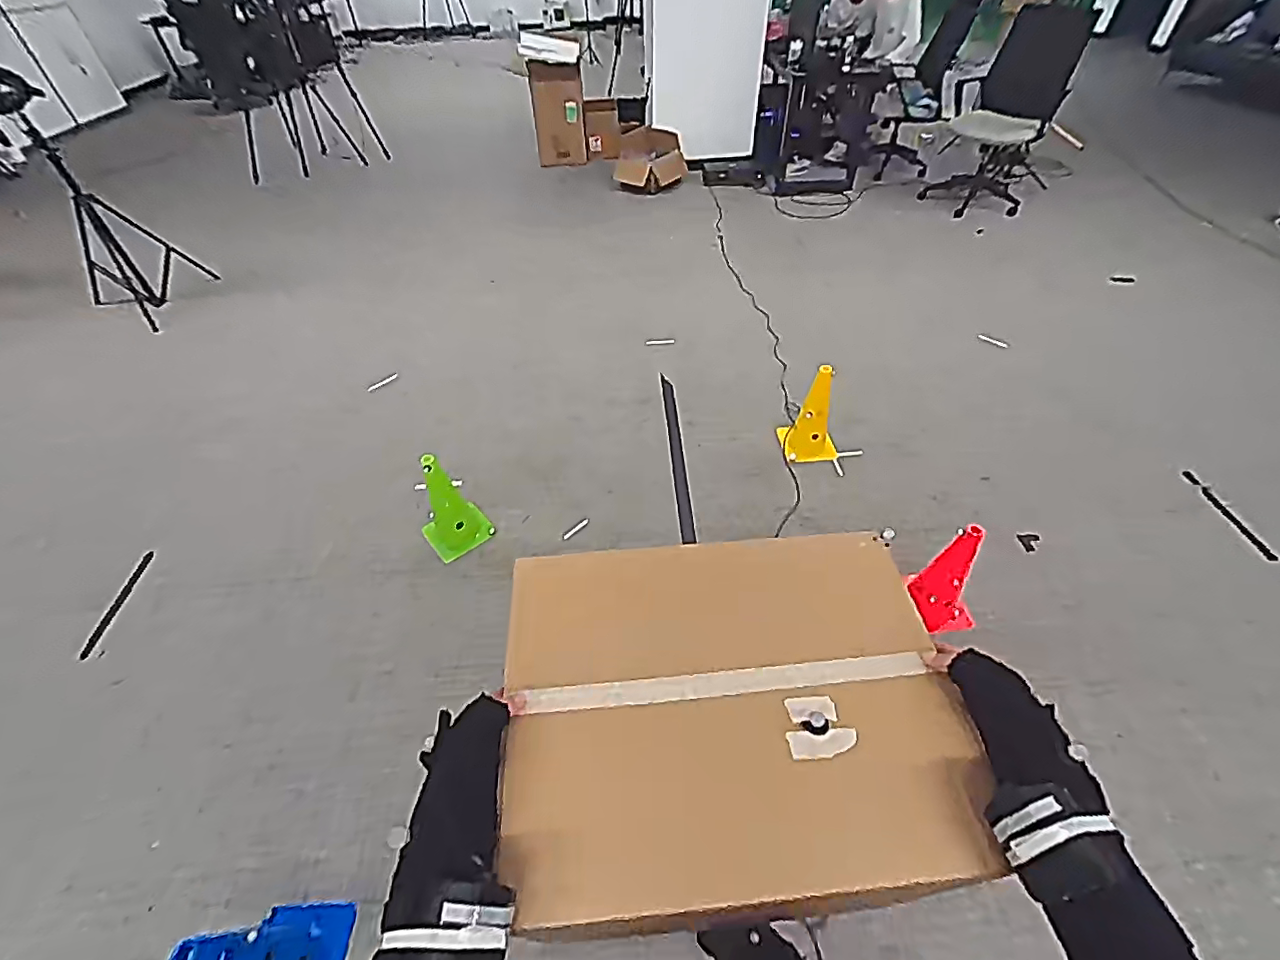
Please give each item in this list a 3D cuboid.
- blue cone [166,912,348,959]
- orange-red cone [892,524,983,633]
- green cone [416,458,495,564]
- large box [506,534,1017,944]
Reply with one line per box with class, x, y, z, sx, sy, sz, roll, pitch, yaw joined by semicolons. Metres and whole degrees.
blue cone;-0.717;0.892;0.986;0.192;0.380;0.193;-3;46;2
orange-red cone;0.867;0.248;1.517;0.198;0.360;0.199;-5;45;-4
green cone;-0.641;0.066;1.756;0.202;0.368;0.200;-34;53;-25
large box;0.081;0.289;0.611;0.408;0.320;0.320;-4;48;-4
